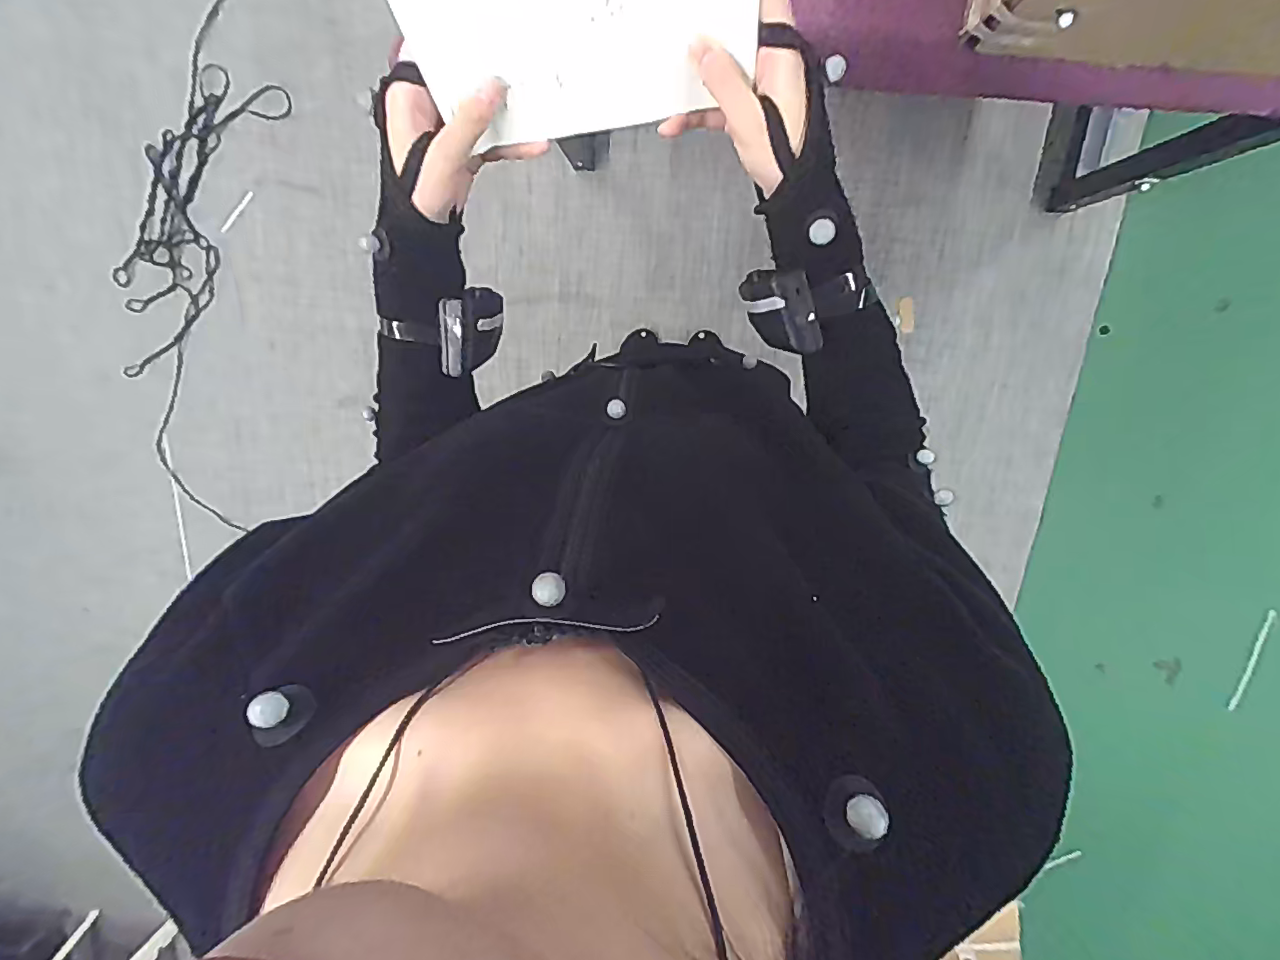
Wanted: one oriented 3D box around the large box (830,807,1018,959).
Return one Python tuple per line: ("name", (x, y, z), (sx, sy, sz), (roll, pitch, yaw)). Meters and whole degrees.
("large box", (0.820, 1.235, 1.604), (0.408, 0.320, 0.320), (-9, 104, 6))
